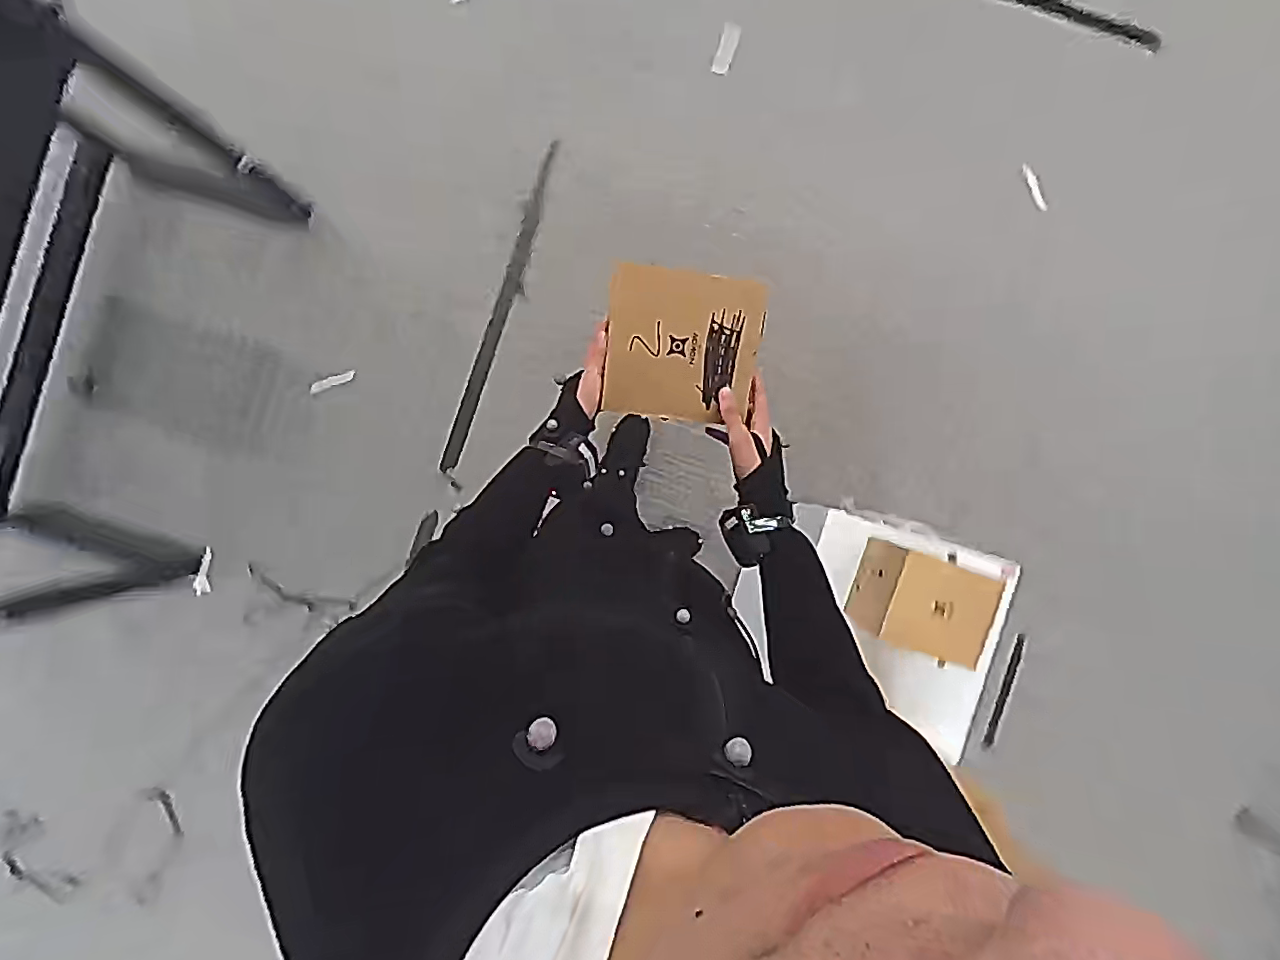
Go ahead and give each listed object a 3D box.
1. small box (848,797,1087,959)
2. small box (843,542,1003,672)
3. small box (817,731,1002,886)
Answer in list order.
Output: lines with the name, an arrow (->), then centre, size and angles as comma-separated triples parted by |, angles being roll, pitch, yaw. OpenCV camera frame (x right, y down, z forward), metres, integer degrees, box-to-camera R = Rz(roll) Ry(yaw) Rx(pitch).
small box -> 0.378, 0.523, 0.659 | 0.179, 0.176, 0.168 | 12, 91, -1
small box -> 0.499, 0.218, 0.983 | 0.179, 0.176, 0.168 | 19, 92, -1
small box -> 0.392, 0.510, 0.822 | 0.179, 0.176, 0.168 | 17, 91, -1
